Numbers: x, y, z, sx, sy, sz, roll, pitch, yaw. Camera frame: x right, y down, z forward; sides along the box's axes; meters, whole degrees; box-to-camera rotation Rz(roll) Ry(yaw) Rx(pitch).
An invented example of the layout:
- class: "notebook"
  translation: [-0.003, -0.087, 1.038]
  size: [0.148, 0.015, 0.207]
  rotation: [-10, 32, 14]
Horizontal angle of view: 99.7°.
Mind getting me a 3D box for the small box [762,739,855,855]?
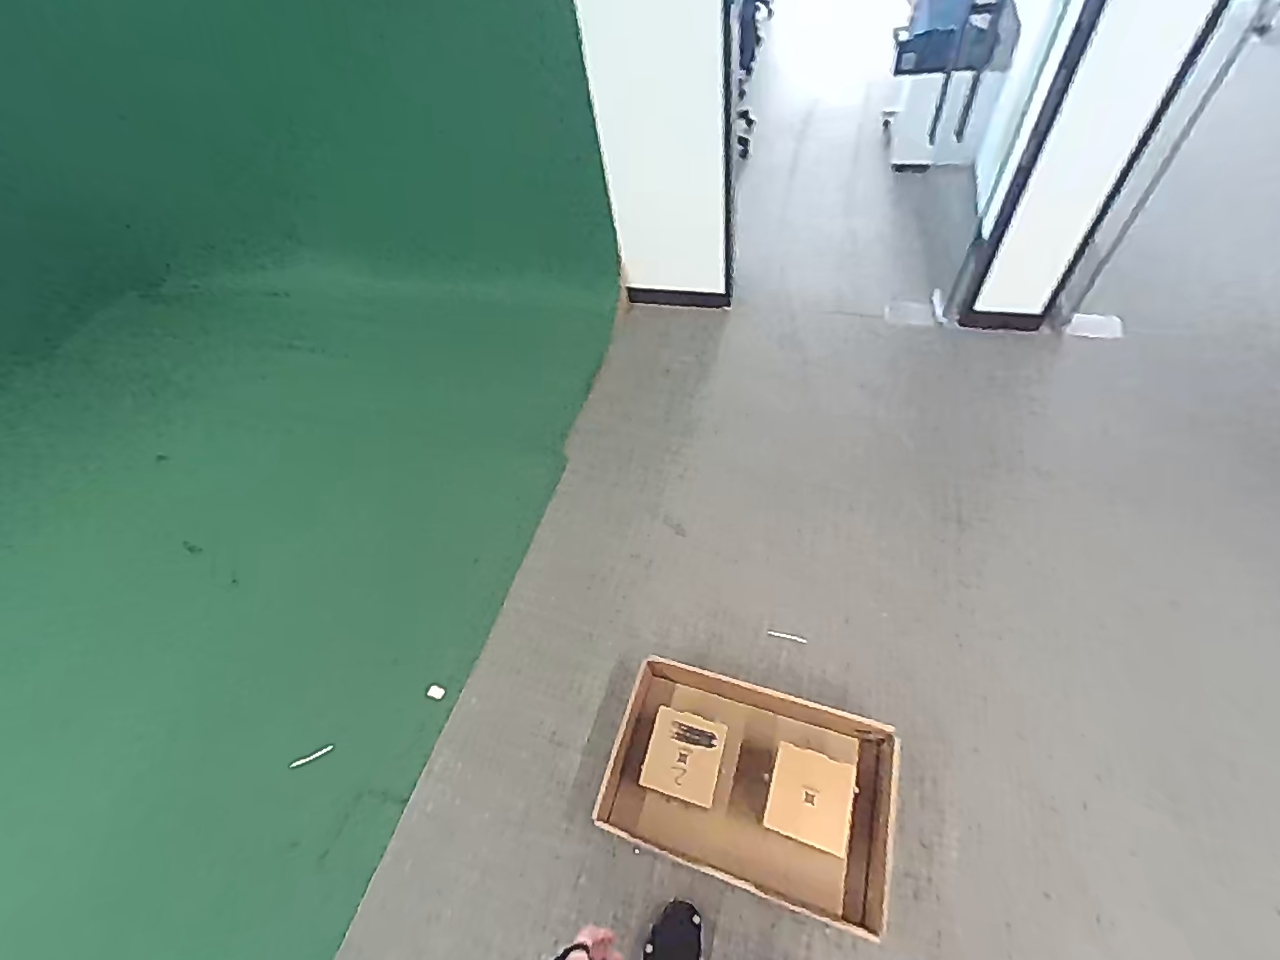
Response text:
- class: "small box"
  translation: [0.375, 0.714, 1.217]
  size: [0.168, 0.176, 0.179]
  rotation: [13, 58, 18]
